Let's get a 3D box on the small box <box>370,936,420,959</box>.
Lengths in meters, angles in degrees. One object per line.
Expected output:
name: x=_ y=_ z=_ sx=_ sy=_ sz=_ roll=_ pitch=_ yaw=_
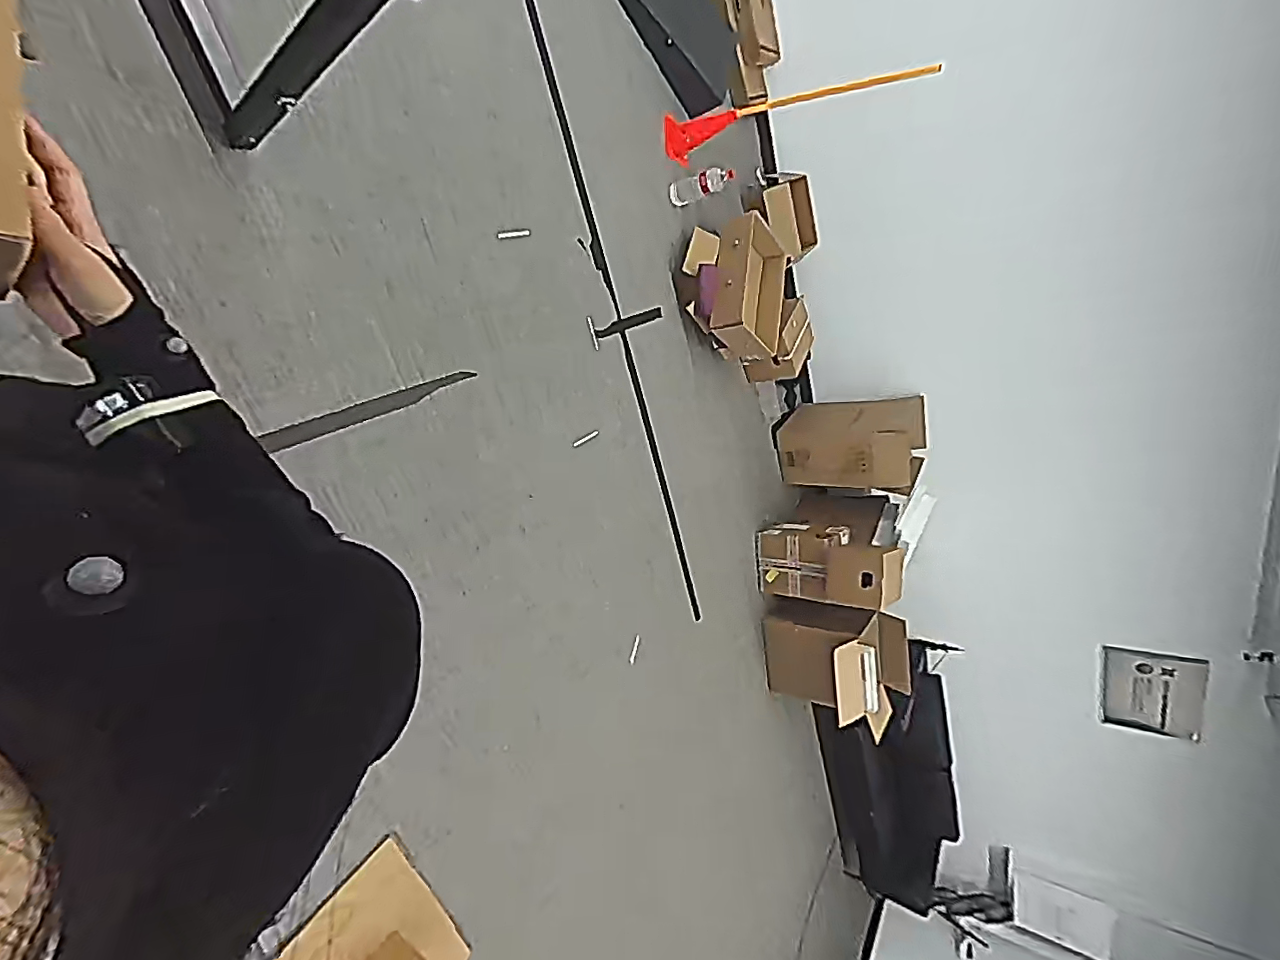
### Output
small box: x=-0.687 y=1.429 z=1.489 sx=0.179 sy=0.176 sz=0.168 roll=-36 pitch=118 yaw=-48
